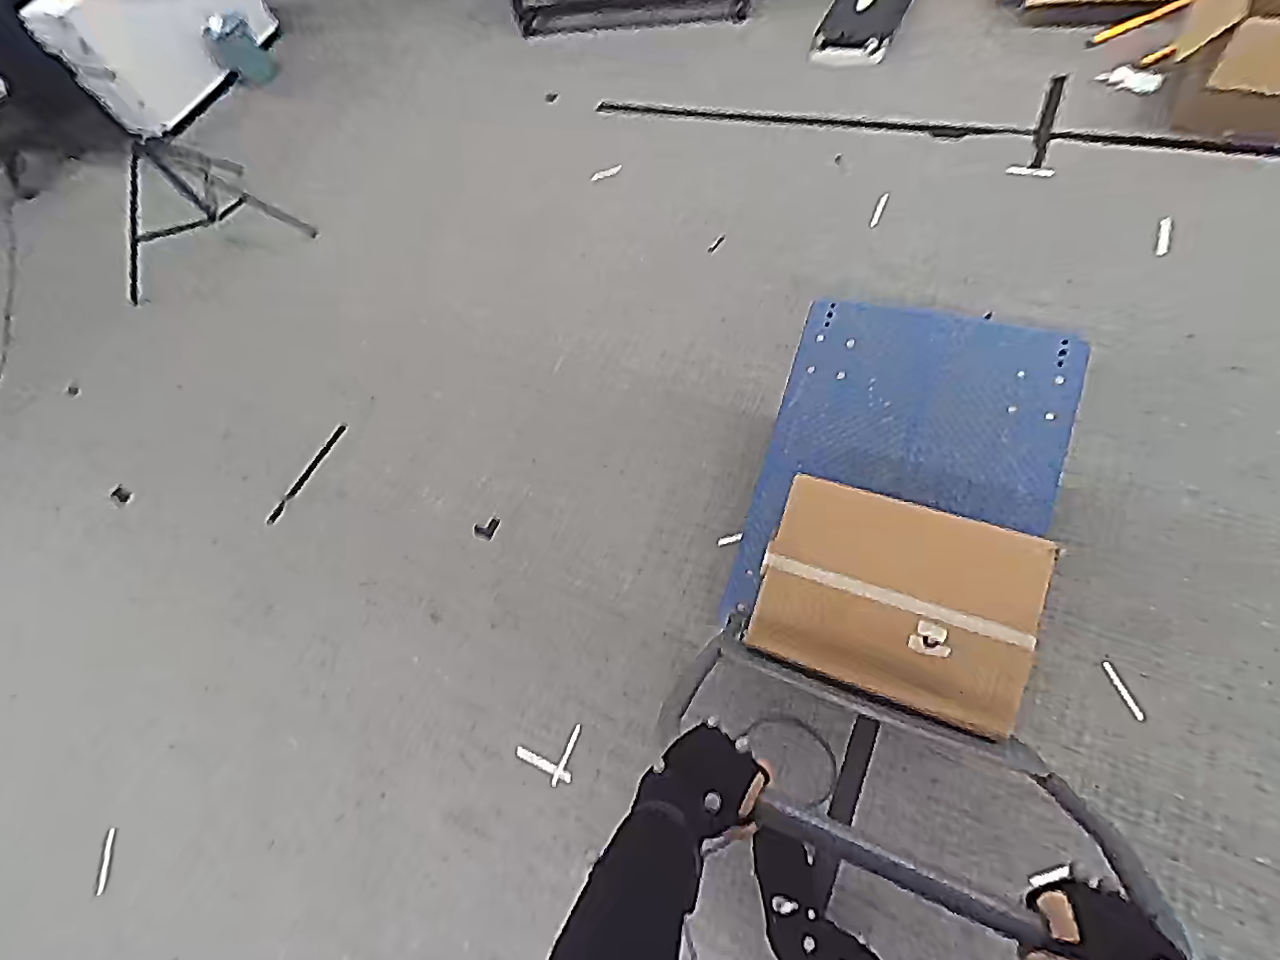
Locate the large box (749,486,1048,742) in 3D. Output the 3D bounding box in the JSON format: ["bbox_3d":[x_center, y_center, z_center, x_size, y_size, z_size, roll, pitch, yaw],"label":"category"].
[{"bbox_3d":[0.451,0.232,1.033,0.408,0.320,0.320,17,85,18],"label":"large box"}]
